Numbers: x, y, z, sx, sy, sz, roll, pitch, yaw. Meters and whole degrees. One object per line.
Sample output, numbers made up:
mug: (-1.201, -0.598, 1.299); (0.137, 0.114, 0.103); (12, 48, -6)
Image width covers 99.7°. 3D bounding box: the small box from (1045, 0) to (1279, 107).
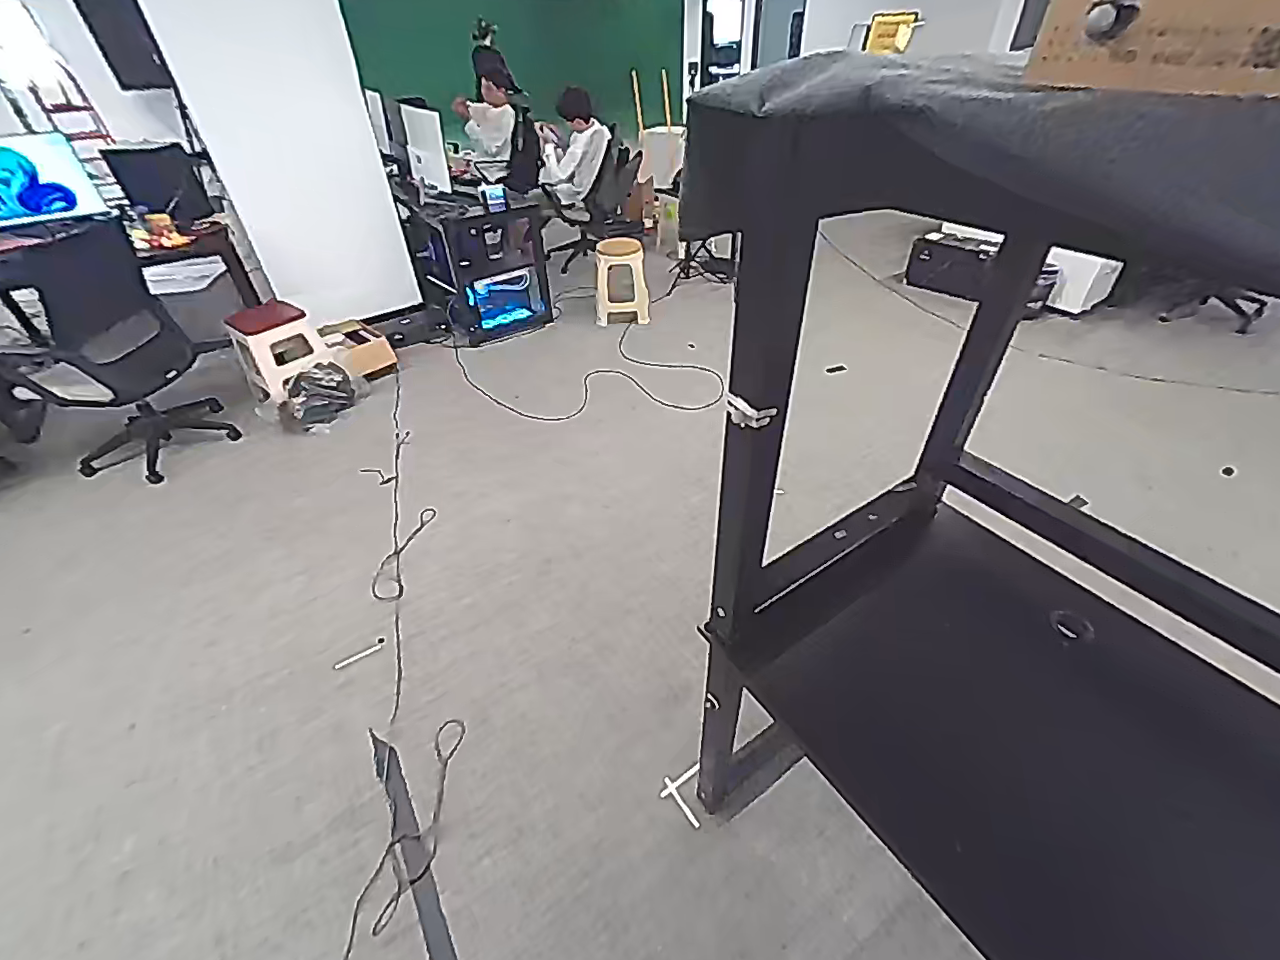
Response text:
small box: (0.340, -0.284, 0.256); (0.179, 0.176, 0.168); (-25, 46, -28)
